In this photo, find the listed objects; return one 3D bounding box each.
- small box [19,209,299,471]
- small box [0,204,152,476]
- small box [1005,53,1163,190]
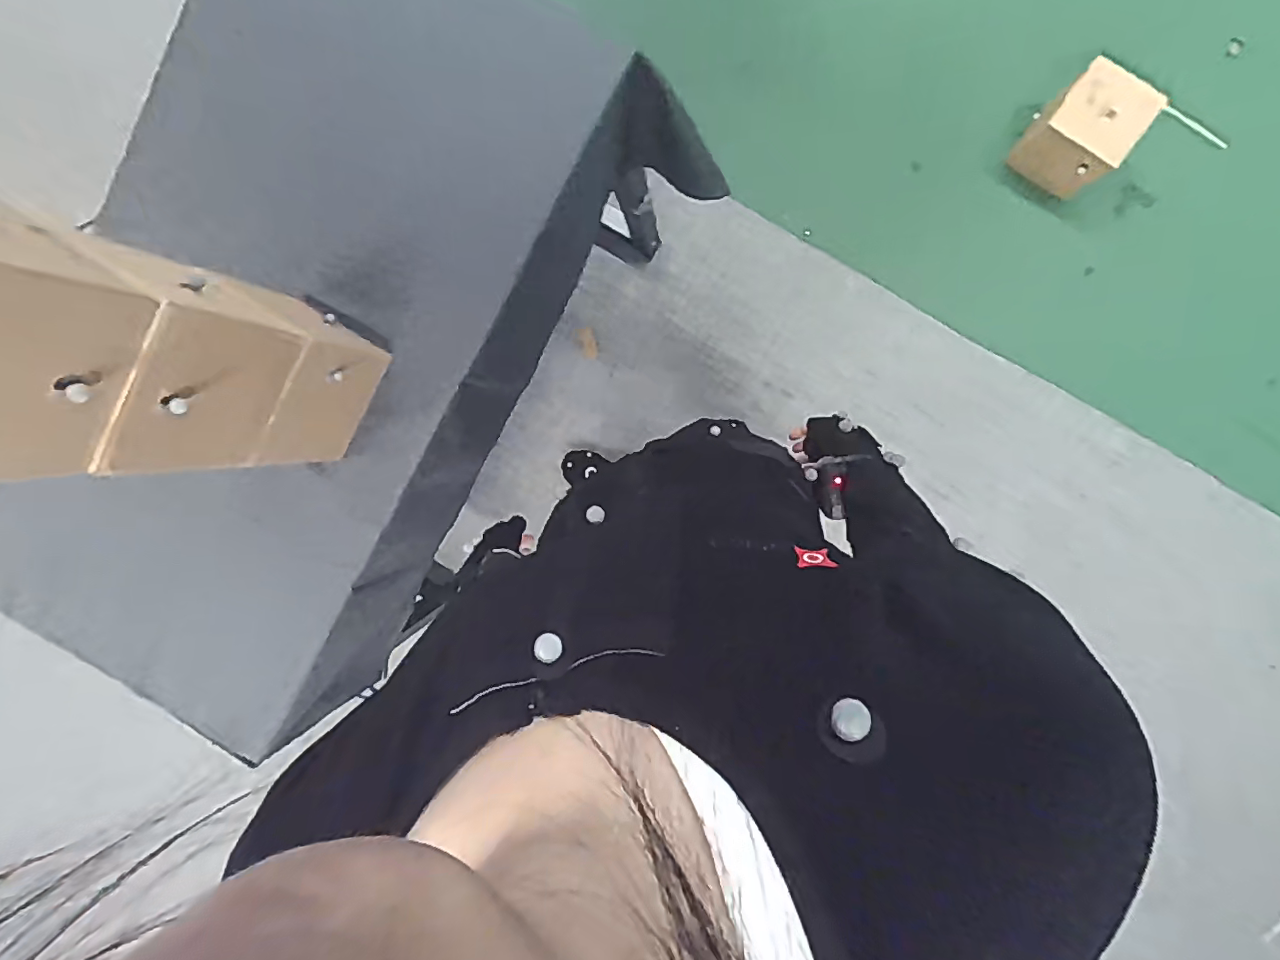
[{"bbox_3d":[-0.496,-0.129,0.553,0.168,0.176,0.179,30,98,3],"label":"small box"},{"bbox_3d":[-0.520,-0.114,0.391,0.168,0.176,0.179,32,98,3],"label":"small box"},{"bbox_3d":[0.988,-0.792,1.222,0.179,0.176,0.168,35,98,2],"label":"small box"}]
